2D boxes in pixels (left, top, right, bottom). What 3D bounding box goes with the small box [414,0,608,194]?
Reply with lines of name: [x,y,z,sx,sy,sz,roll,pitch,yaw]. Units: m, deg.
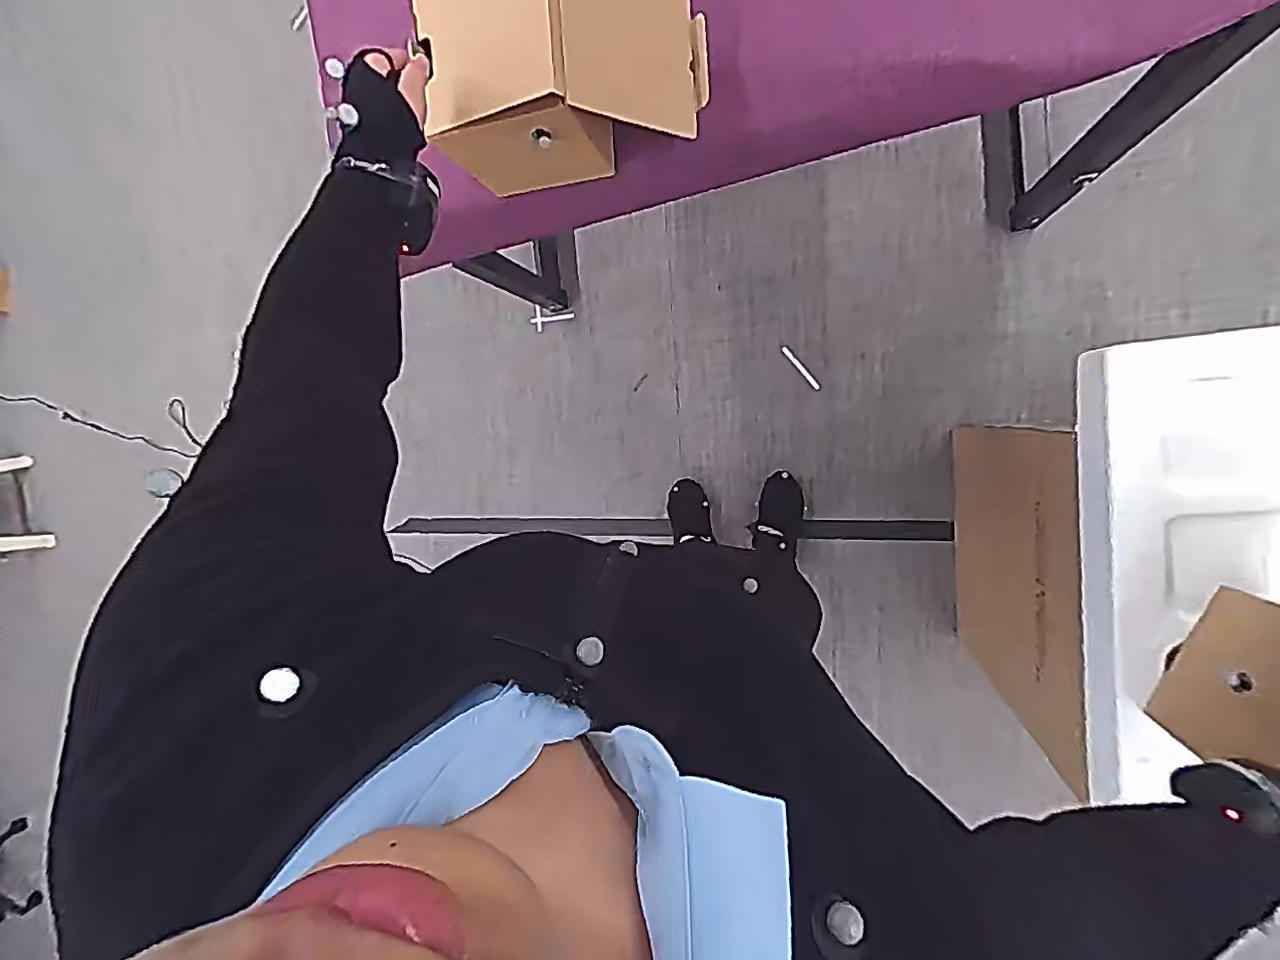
small box: [-0.142,-0.477,0.659,0.179,0.176,0.168,-2,94,16]
